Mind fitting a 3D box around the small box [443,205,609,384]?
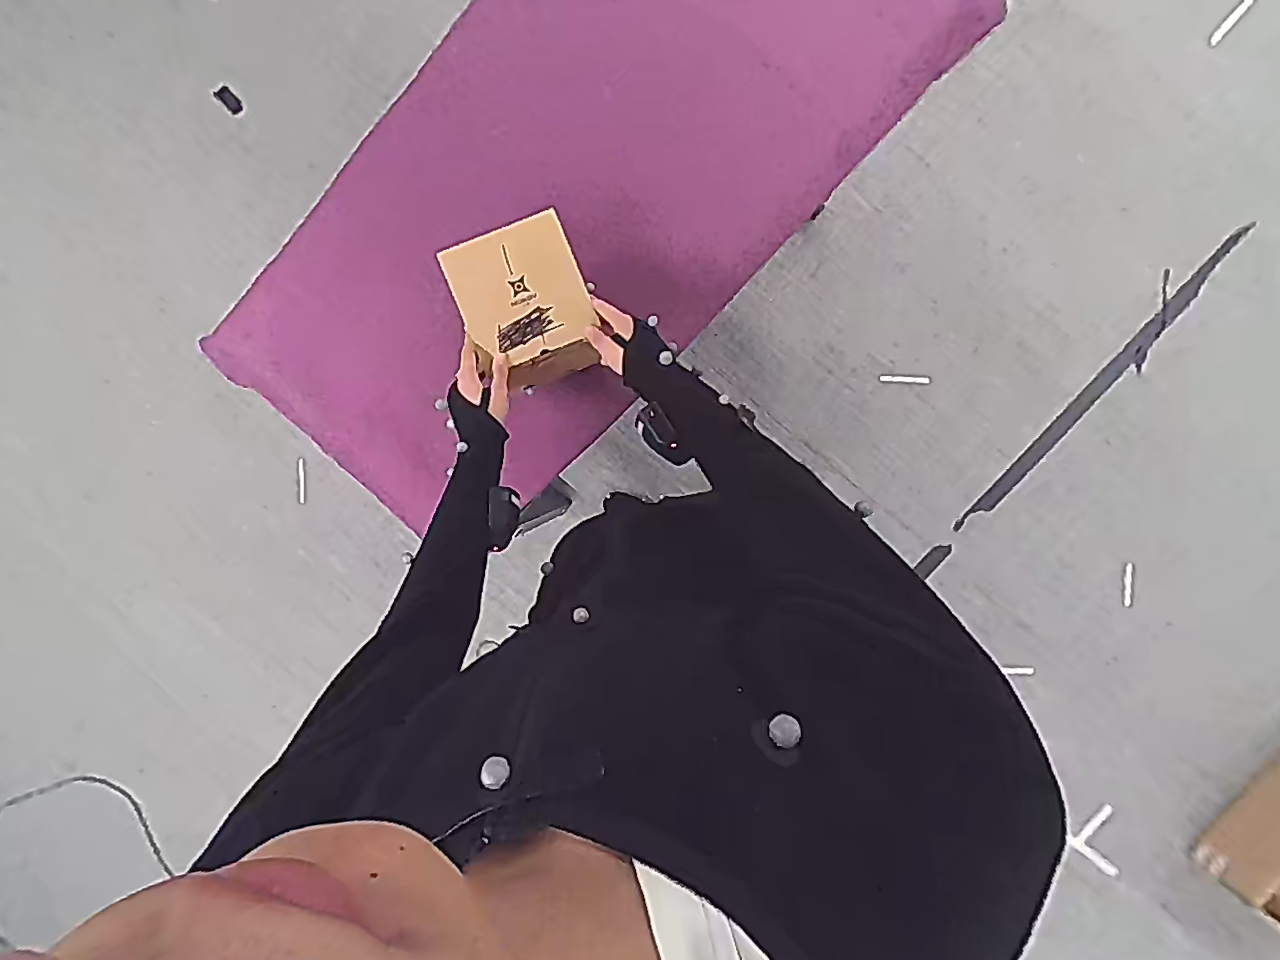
[{"bbox_3d":[-0.148,-0.246,0.770,0.168,0.176,0.179,-21,92,-2],"label":"small box"}]
